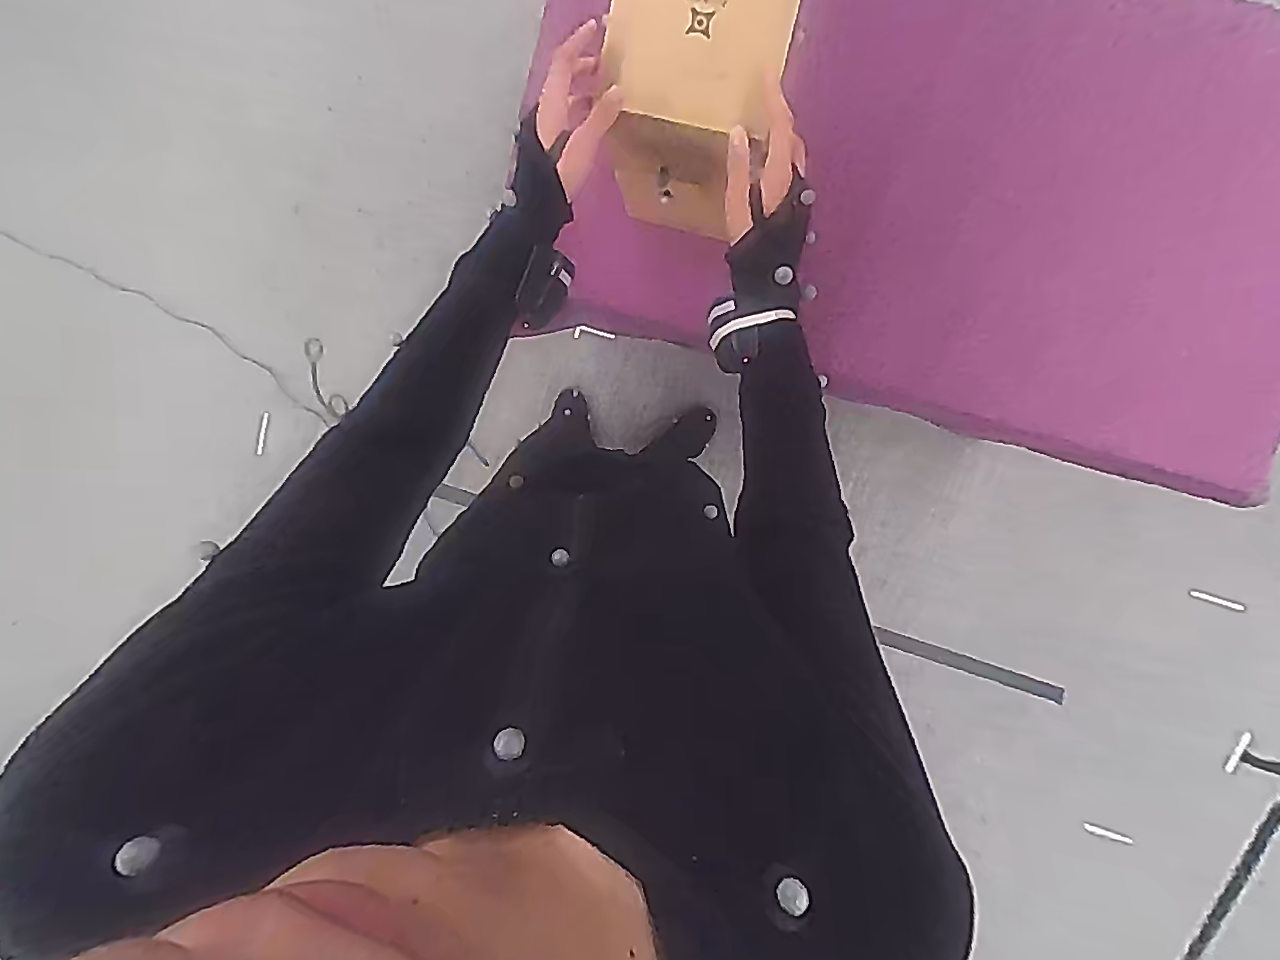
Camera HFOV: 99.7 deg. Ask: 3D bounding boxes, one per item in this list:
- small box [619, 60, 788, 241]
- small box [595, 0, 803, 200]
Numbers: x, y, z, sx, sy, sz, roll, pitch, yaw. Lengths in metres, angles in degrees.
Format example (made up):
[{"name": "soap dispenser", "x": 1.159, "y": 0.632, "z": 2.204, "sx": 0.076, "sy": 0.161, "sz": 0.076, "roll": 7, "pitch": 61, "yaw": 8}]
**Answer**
[{"name": "small box", "x": 0.077, "y": -0.446, "z": 0.718, "sx": 0.168, "sy": 0.176, "sz": 0.179, "roll": 15, "pitch": 100, "yaw": 2}, {"name": "small box", "x": 0.060, "y": -0.422, "z": 0.557, "sx": 0.168, "sy": 0.176, "sz": 0.179, "roll": 14, "pitch": 101, "yaw": 2}]
